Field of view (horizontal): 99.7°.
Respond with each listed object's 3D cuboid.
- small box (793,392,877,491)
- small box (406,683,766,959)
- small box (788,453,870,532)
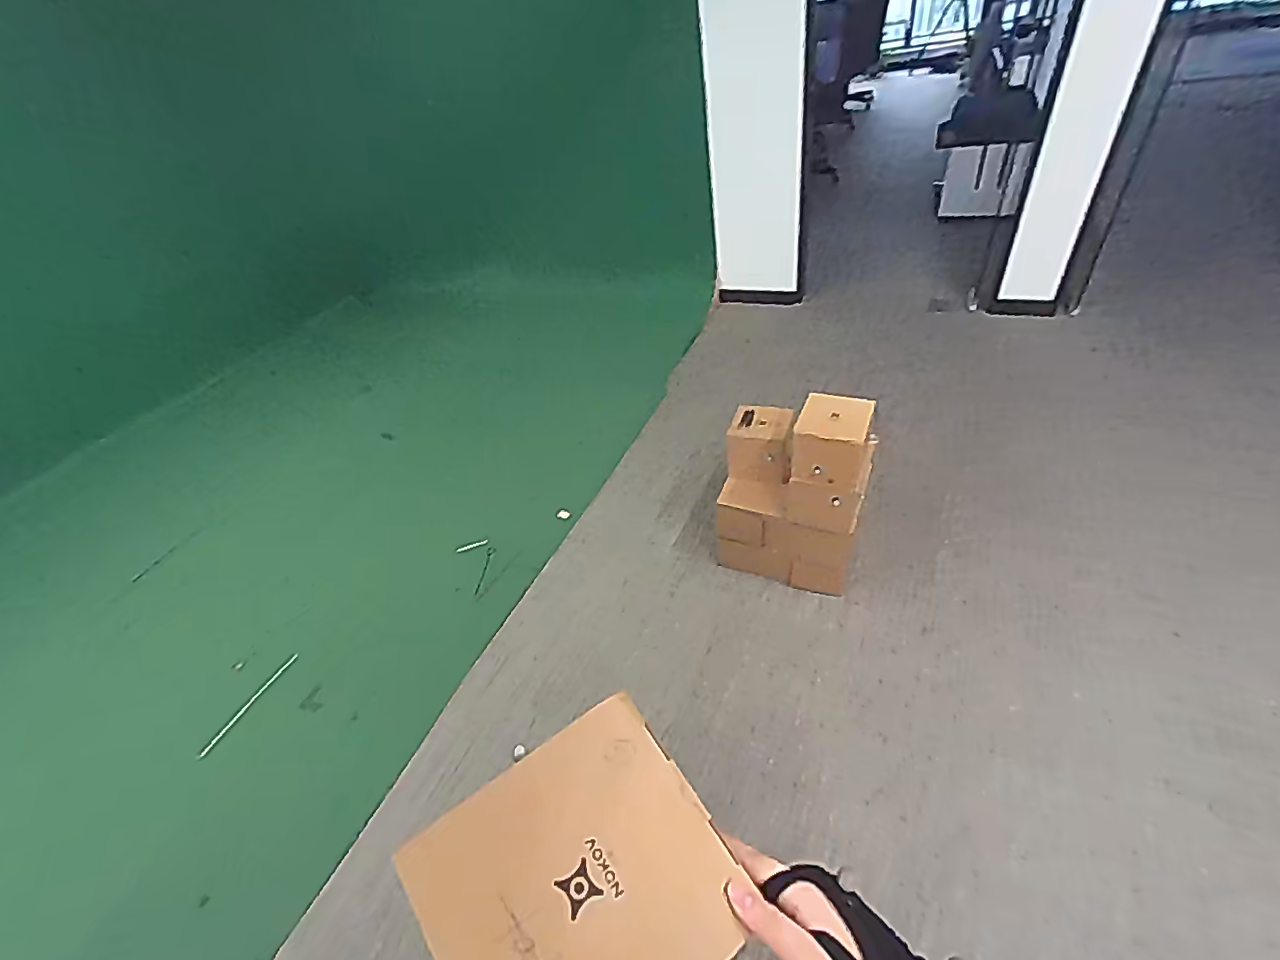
[{"bbox_3d":[0.500,-0.100,1.401,0.168,0.176,0.179,13,49,24],"label":"small box"},{"bbox_3d":[-0.043,0.288,0.405,0.179,0.176,0.168,-27,63,-24],"label":"small box"},{"bbox_3d":[0.523,0.021,1.507,0.179,0.176,0.168,13,47,25],"label":"small box"}]
